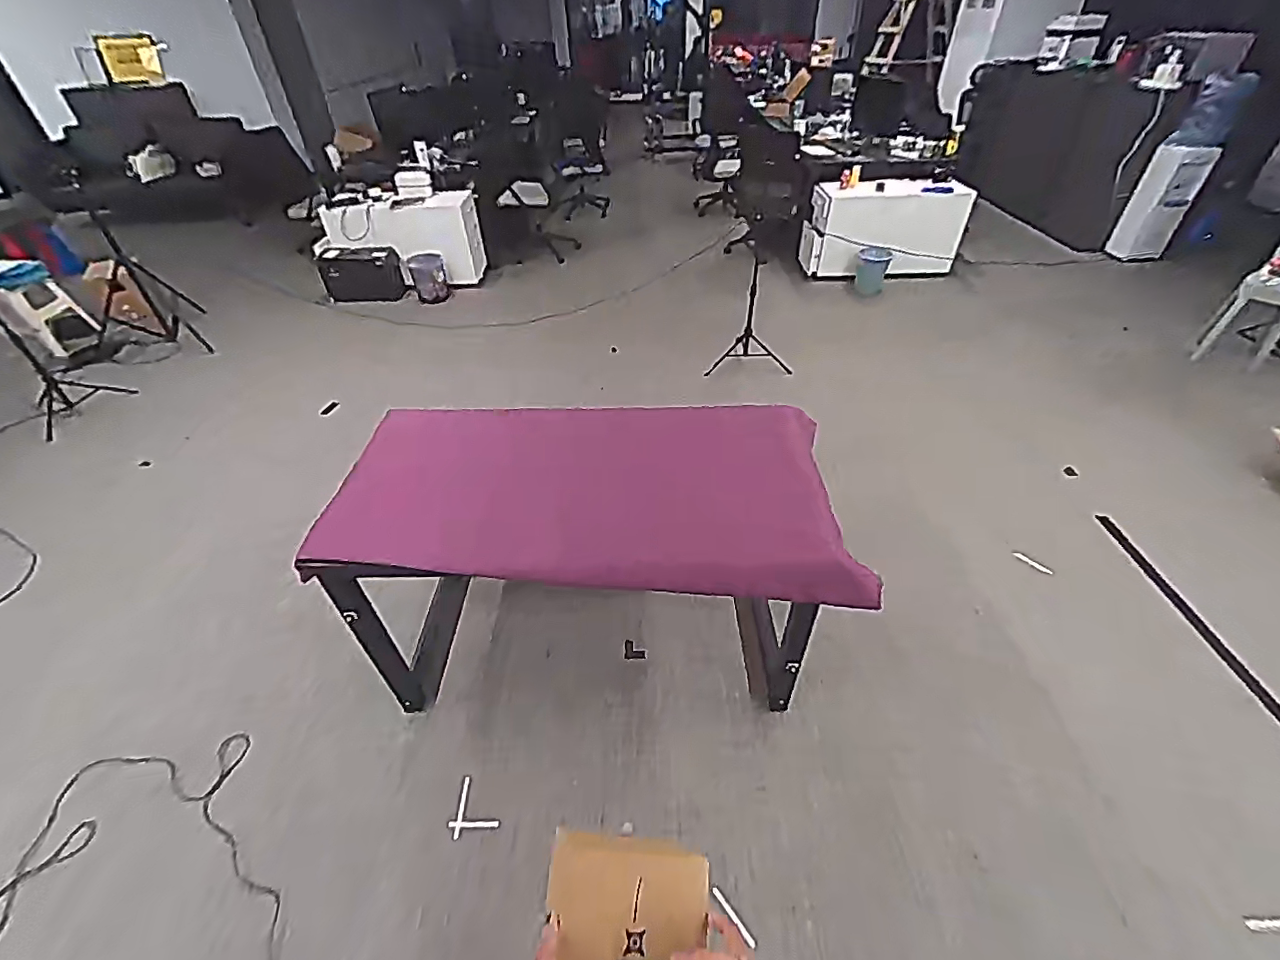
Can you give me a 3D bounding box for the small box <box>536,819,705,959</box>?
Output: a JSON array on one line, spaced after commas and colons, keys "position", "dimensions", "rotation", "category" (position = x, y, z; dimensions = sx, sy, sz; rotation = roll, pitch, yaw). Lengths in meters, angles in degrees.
[{"position": [-0.029, 0.525, 0.646], "dimensions": [0.168, 0.176, 0.179], "rotation": [11, 62, -9], "category": "small box"}]
